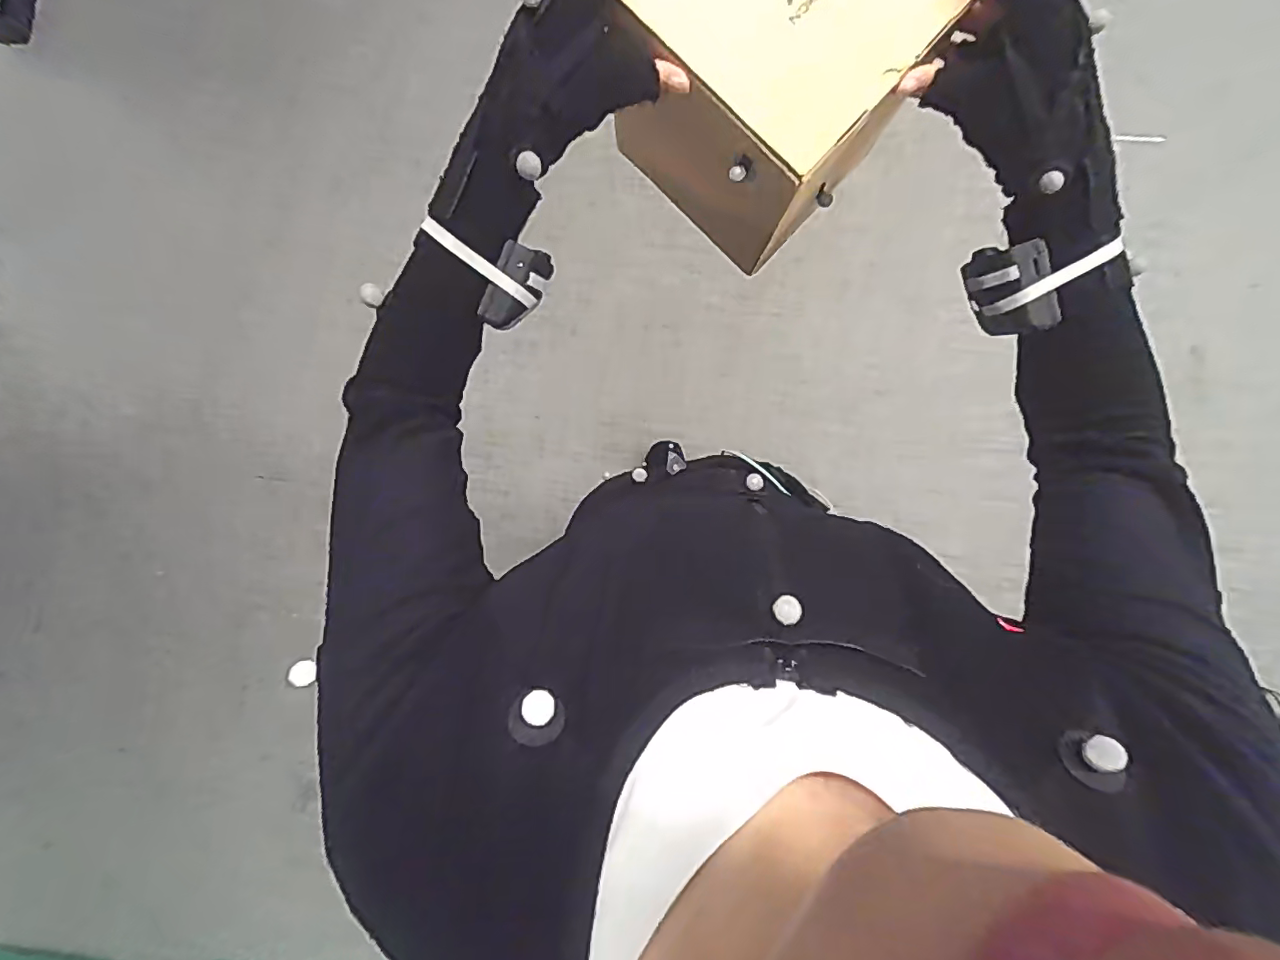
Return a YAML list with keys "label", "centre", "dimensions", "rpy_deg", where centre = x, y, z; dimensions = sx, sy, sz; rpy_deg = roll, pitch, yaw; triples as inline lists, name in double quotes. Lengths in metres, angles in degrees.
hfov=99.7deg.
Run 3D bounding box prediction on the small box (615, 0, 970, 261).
- label: "small box"
  centre: [0.094, -0.311, 0.424]
  dimensions: [0.179, 0.176, 0.168]
  rpy_deg: [44, 90, -2]
